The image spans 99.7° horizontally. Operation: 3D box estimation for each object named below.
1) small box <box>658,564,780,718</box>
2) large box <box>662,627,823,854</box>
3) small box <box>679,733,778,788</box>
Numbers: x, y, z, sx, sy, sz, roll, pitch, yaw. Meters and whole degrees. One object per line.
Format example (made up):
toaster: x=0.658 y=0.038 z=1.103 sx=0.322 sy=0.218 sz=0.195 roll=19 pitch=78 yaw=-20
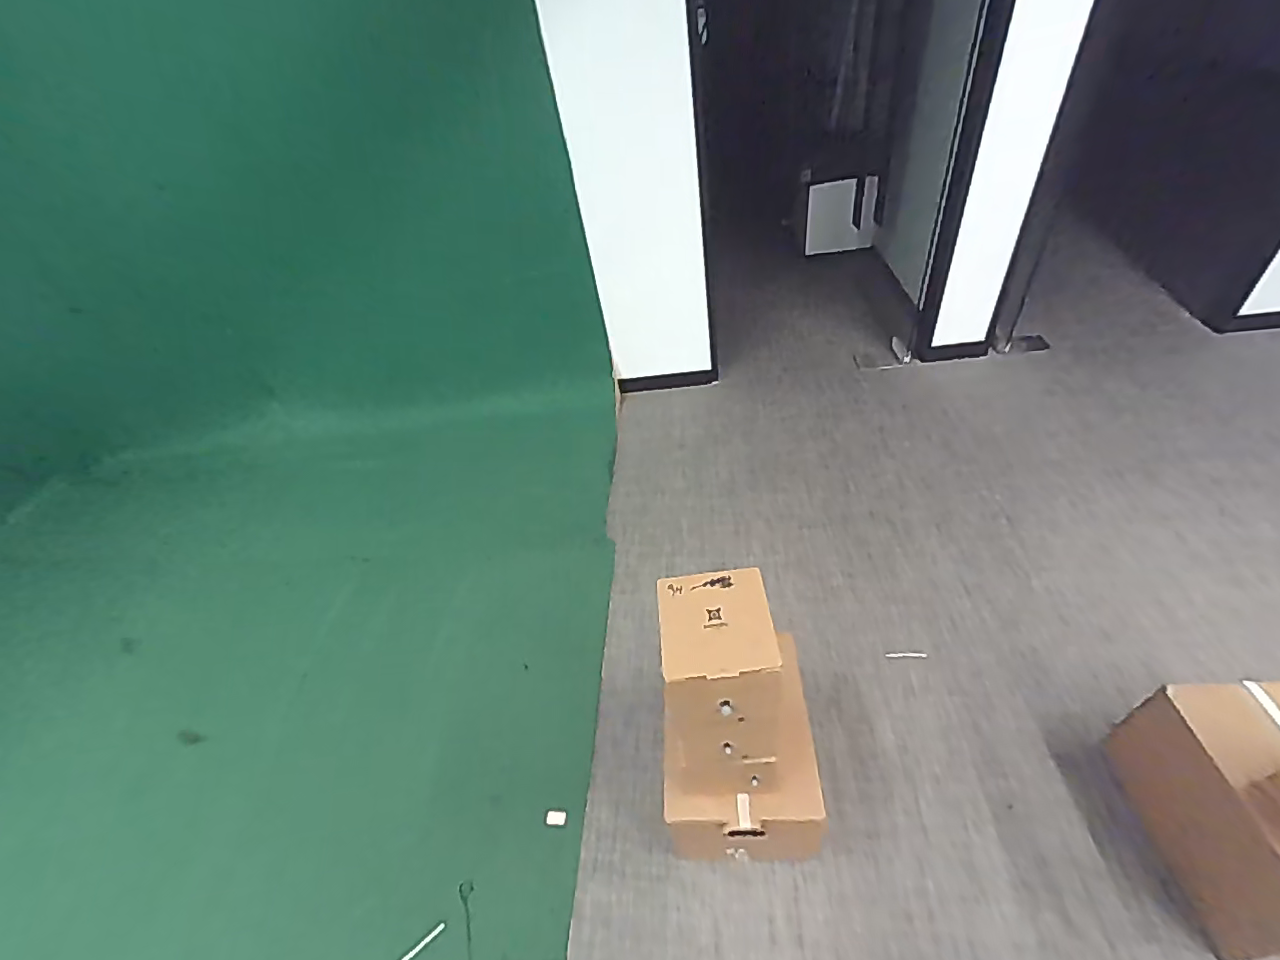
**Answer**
small box: x=0.123 y=0.260 z=0.852 sx=0.168 sy=0.176 sz=0.179 roll=-7 pitch=44 yaw=5
large box: x=0.228 y=0.618 z=1.291 sx=0.320 sy=0.320 sz=0.408 roll=-5 pitch=43 yaw=7
small box: x=0.172 y=0.496 z=1.075 sx=0.179 sy=0.176 sz=0.168 roll=-7 pitch=43 yaw=7
